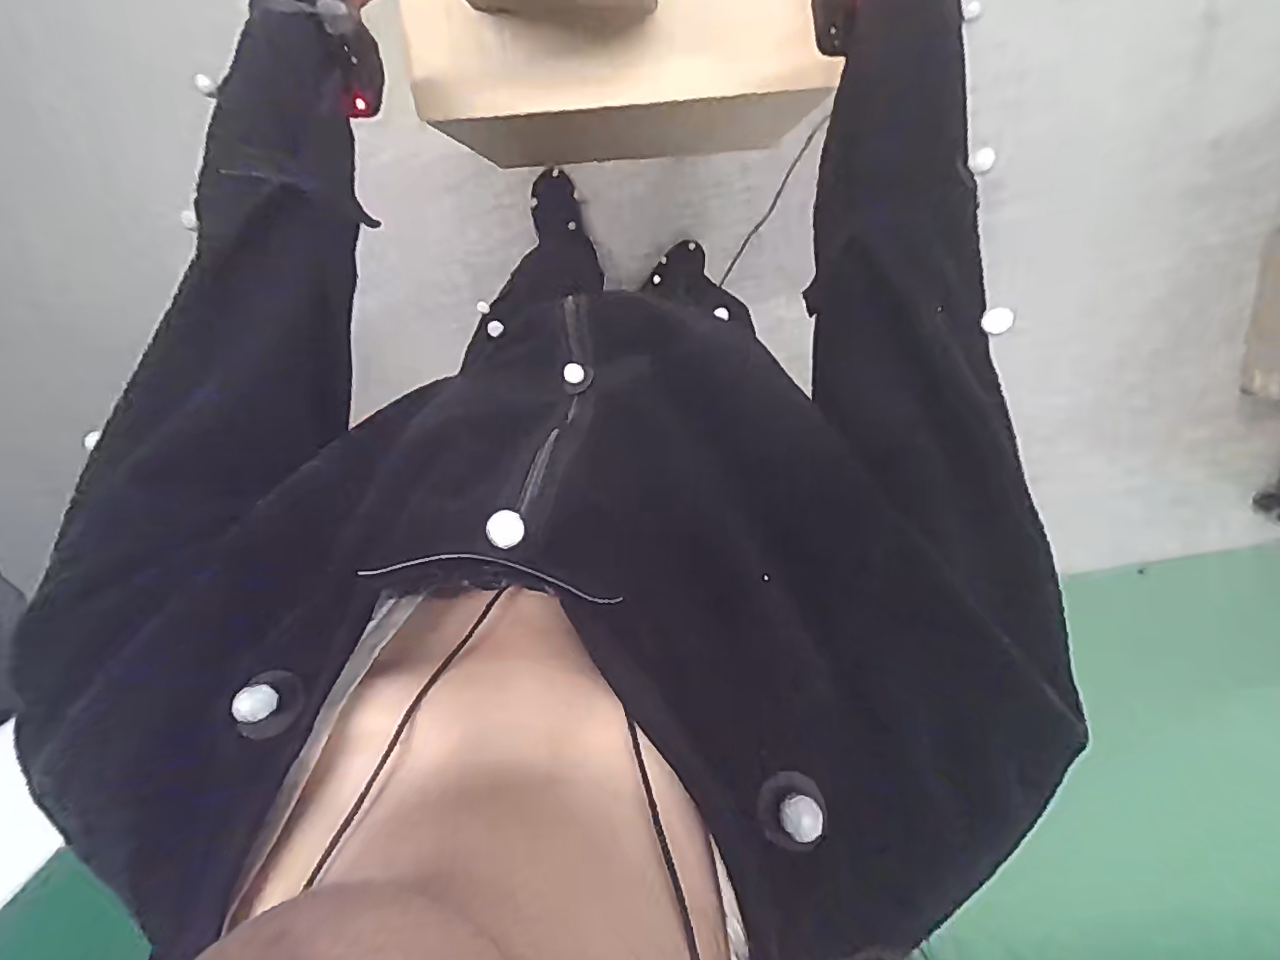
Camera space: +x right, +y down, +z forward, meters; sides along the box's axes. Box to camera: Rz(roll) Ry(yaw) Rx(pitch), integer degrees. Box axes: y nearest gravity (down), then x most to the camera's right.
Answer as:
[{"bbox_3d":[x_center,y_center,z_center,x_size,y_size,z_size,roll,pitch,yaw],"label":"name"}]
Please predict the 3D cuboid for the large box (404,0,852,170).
[{"bbox_3d":[-0.018,-0.549,0.585,0.408,0.320,0.320,-4,113,1],"label":"large box"}]

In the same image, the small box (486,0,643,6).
[{"bbox_3d":[-0.065,-0.461,0.357,0.168,0.176,0.179,0,112,0],"label":"small box"}]
